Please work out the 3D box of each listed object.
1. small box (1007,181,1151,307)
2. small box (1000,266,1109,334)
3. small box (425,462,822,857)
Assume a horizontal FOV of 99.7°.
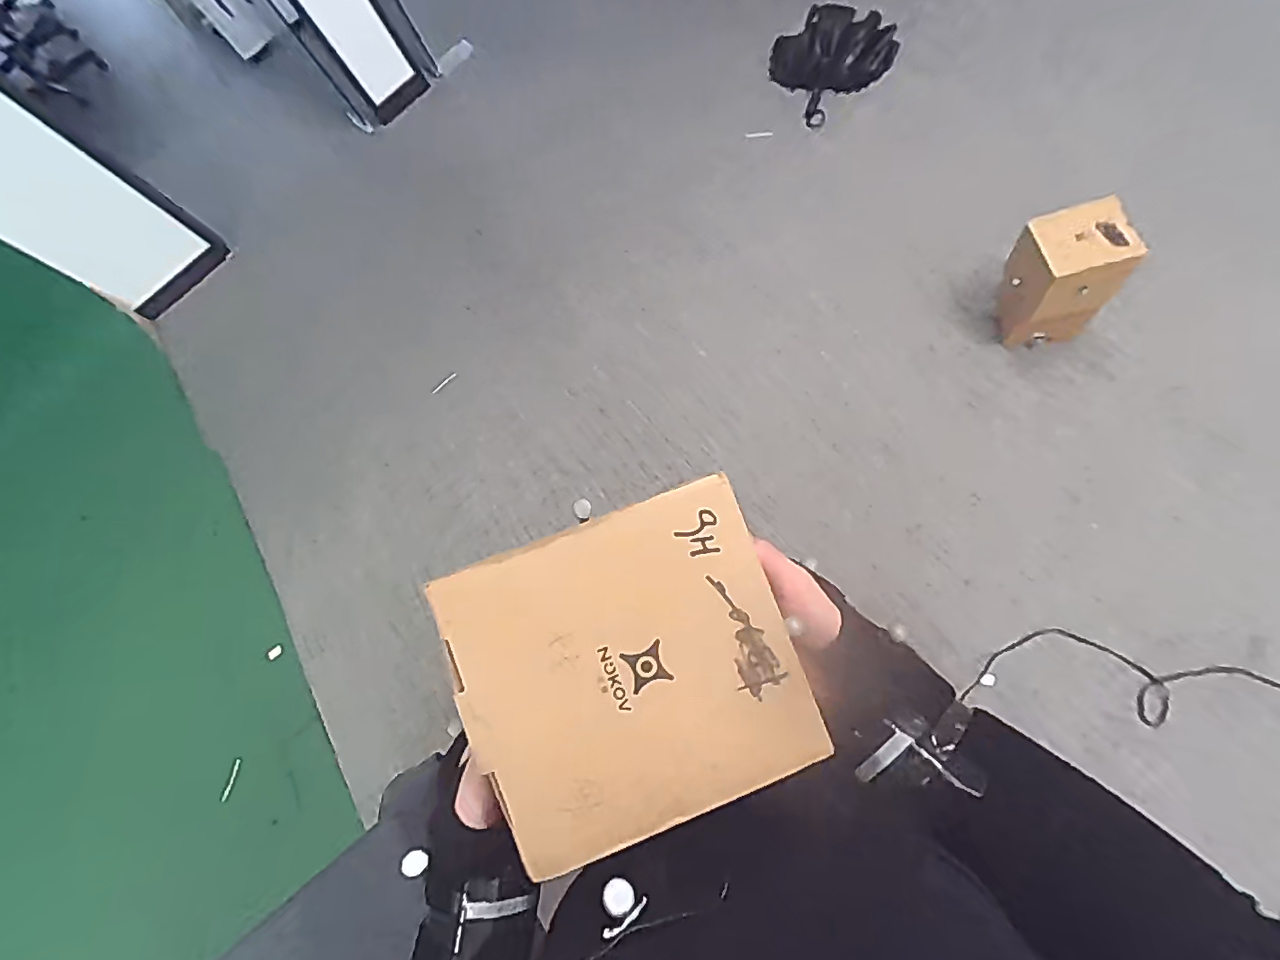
[{"bbox_3d":[0.976,-0.523,1.221,0.179,0.176,0.168,-13,68,14],"label":"small box"},{"bbox_3d":[1.040,-0.495,1.372,0.168,0.176,0.179,-1,73,18],"label":"small box"},{"bbox_3d":[-0.010,0.098,0.369,0.179,0.176,0.168,-21,89,-3],"label":"small box"}]
